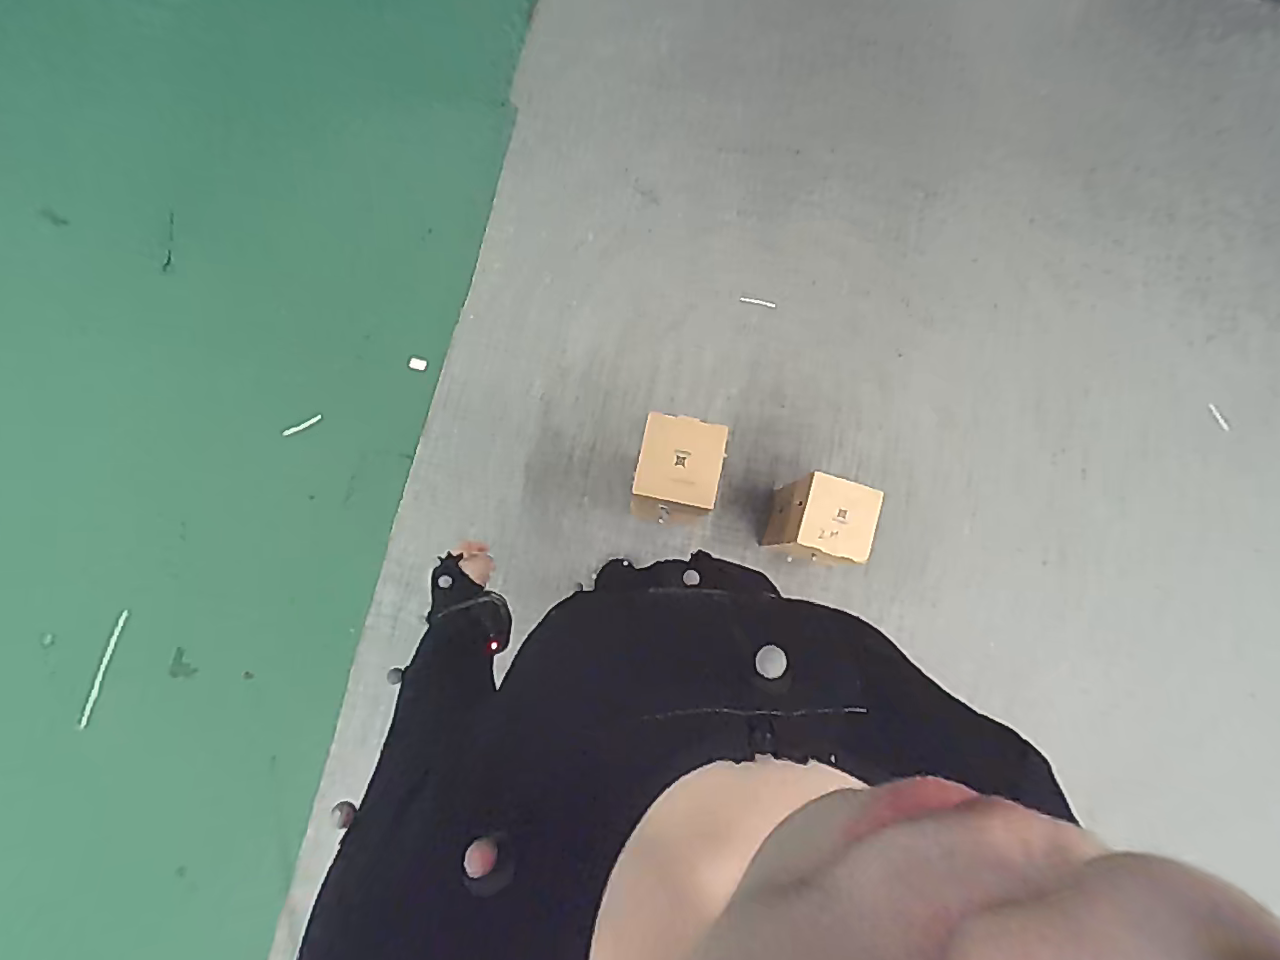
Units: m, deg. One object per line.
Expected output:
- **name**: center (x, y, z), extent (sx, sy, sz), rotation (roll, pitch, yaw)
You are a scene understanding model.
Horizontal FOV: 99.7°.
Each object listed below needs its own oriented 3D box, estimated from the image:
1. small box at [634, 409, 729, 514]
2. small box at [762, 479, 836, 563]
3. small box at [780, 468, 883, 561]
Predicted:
- **small box**: center (0.082, -0.032, 1.147), extent (0.168, 0.176, 0.179), rotation (11, 82, 2)
- **small box**: center (0.444, 0.115, 1.463), extent (0.168, 0.176, 0.179), rotation (19, 82, 2)
- **small box**: center (0.451, 0.088, 1.300), extent (0.168, 0.176, 0.179), rotation (17, 82, 2)
